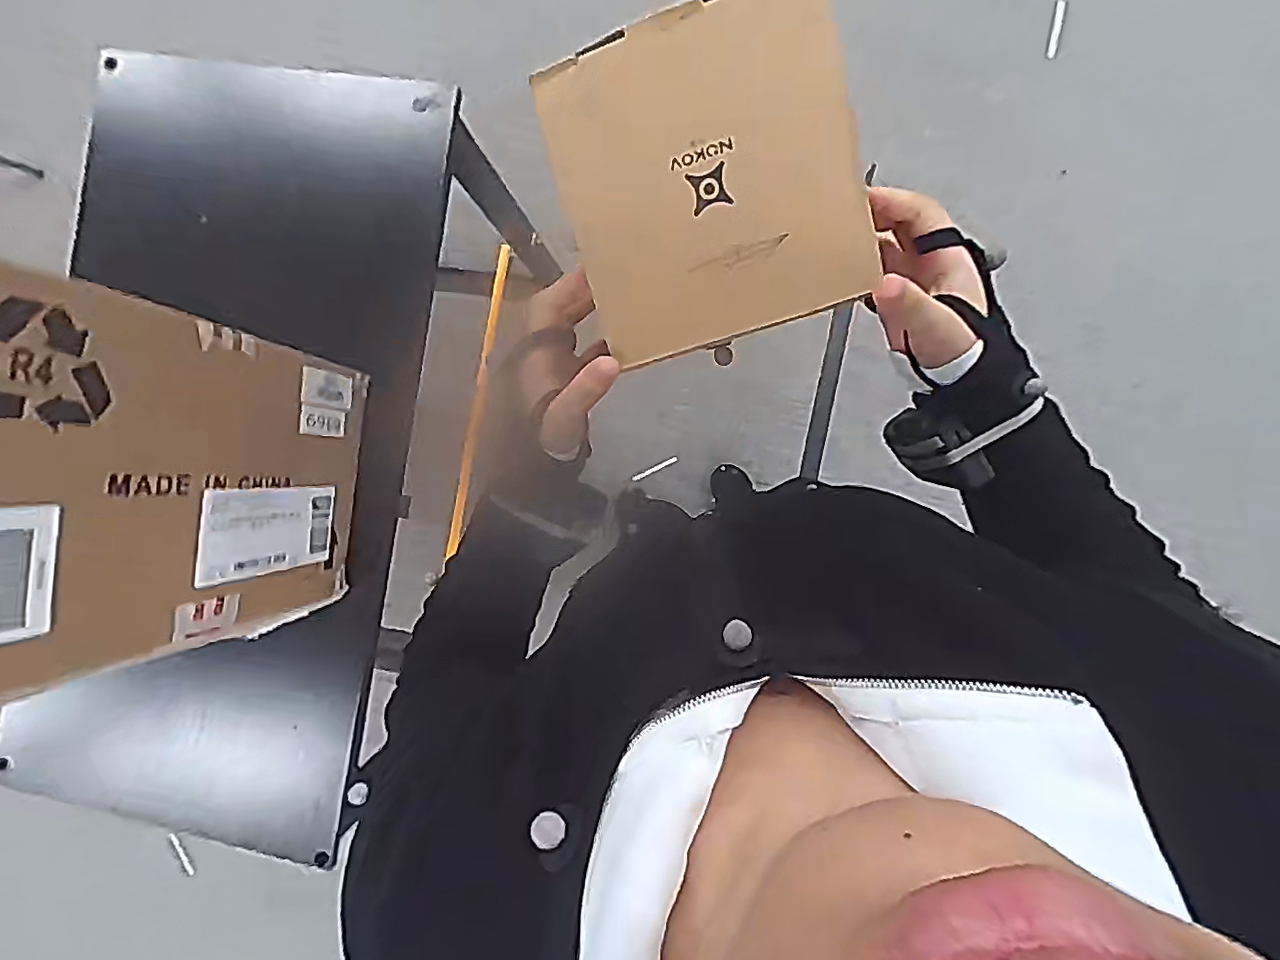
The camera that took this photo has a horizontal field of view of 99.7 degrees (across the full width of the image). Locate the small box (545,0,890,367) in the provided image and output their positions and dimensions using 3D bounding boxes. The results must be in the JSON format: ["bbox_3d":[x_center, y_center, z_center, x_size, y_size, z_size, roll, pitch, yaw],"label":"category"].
[{"bbox_3d":[0.053,-0.187,0.386,0.168,0.176,0.179,-15,102,10],"label":"small box"}]
